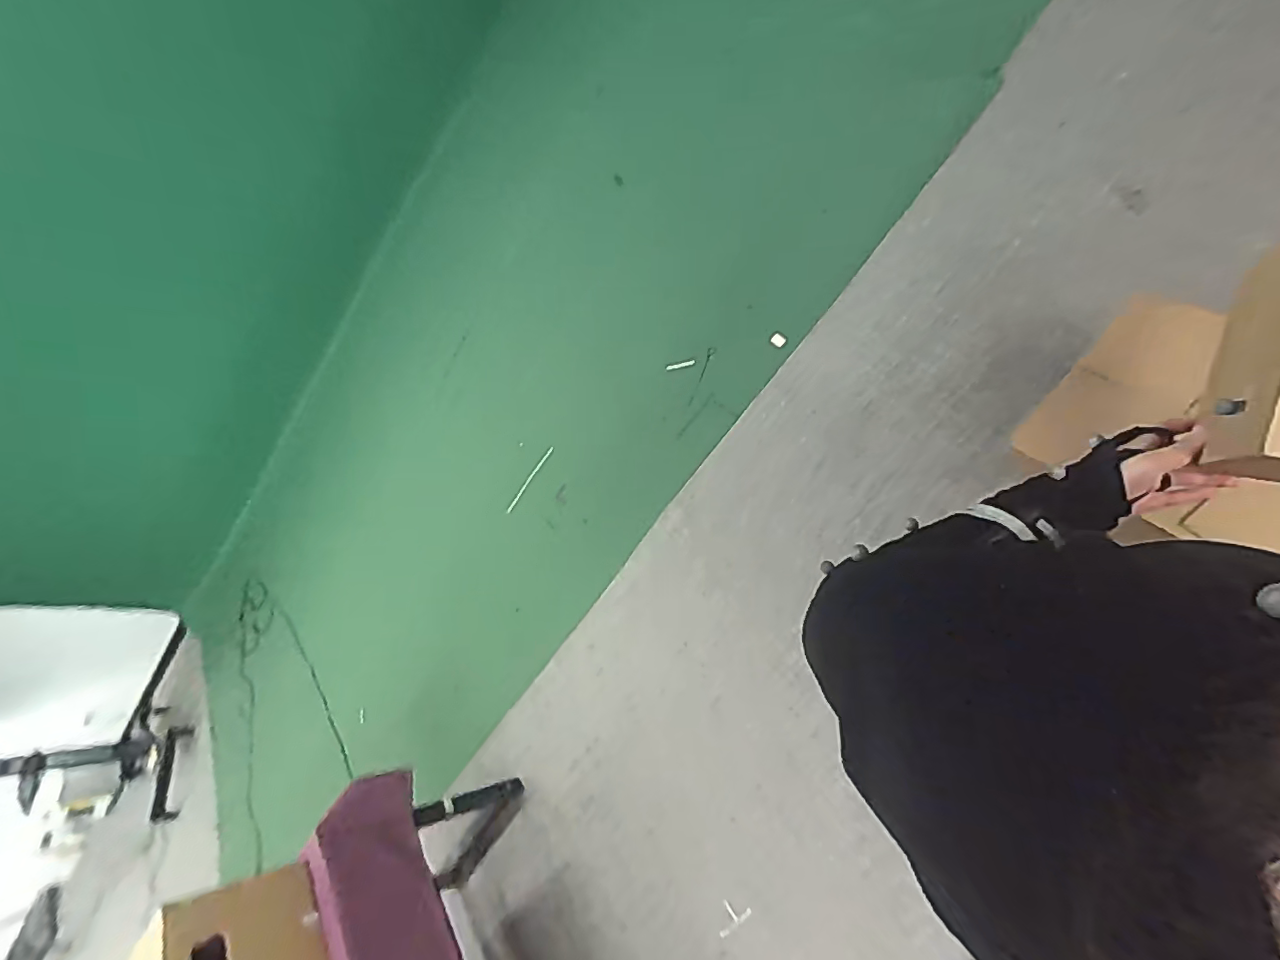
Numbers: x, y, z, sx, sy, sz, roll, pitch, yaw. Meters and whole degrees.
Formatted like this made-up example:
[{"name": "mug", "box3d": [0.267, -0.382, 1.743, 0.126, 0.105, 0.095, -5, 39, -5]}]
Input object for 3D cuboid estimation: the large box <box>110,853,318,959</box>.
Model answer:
[{"name": "large box", "box3d": [-1.052, 1.212, 1.302, 0.408, 0.320, 0.320, -52, 54, 13]}]
